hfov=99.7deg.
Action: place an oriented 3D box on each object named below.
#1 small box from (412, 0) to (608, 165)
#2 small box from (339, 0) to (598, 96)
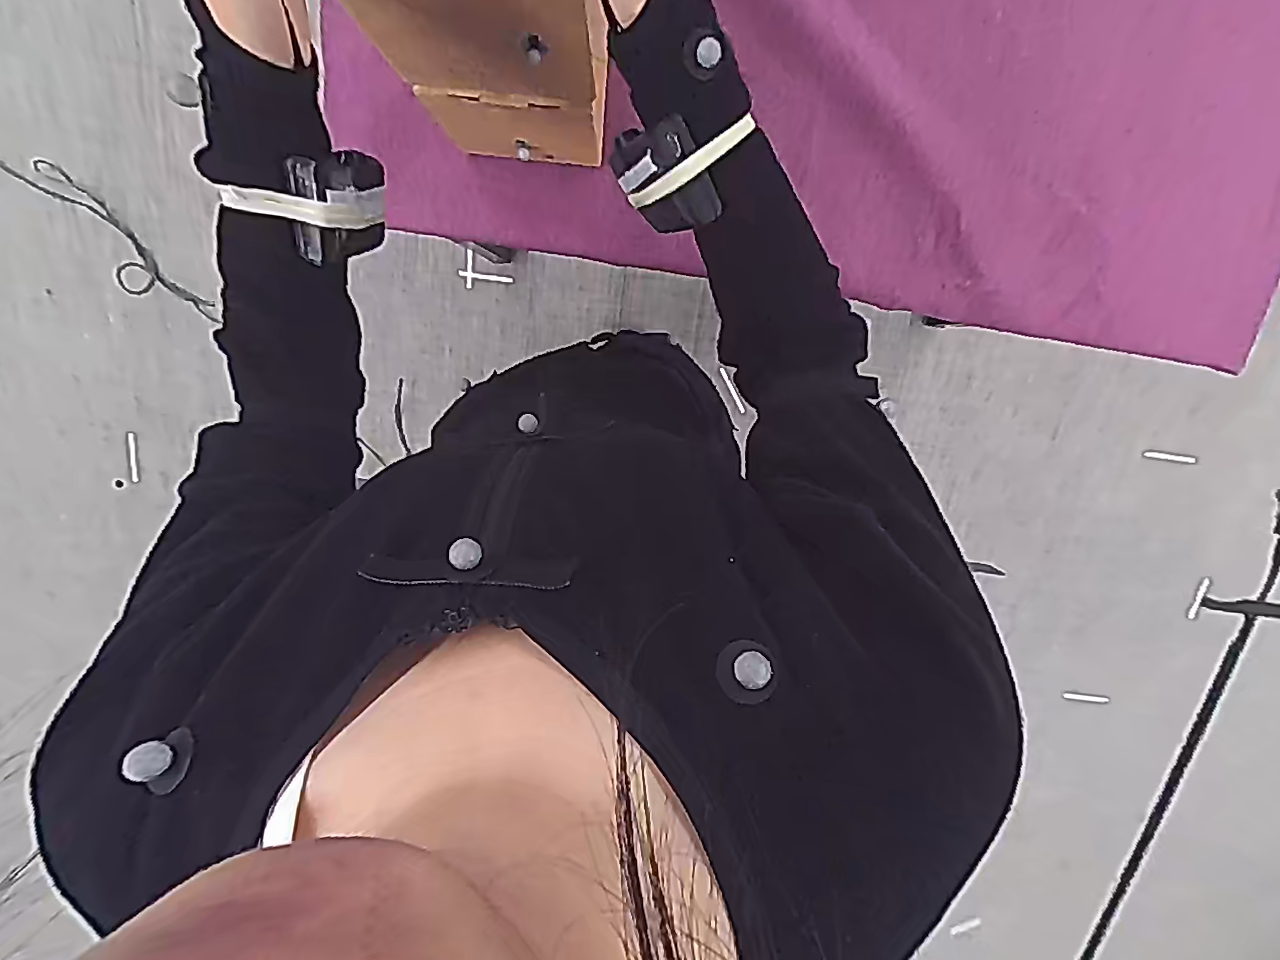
[{"bbox_3d":[-0.122,-0.452,0.552,0.168,0.176,0.179,5,105,-3],"label":"small box"},{"bbox_3d":[-0.118,-0.413,0.395,0.179,0.176,0.168,4,103,-2],"label":"small box"}]
